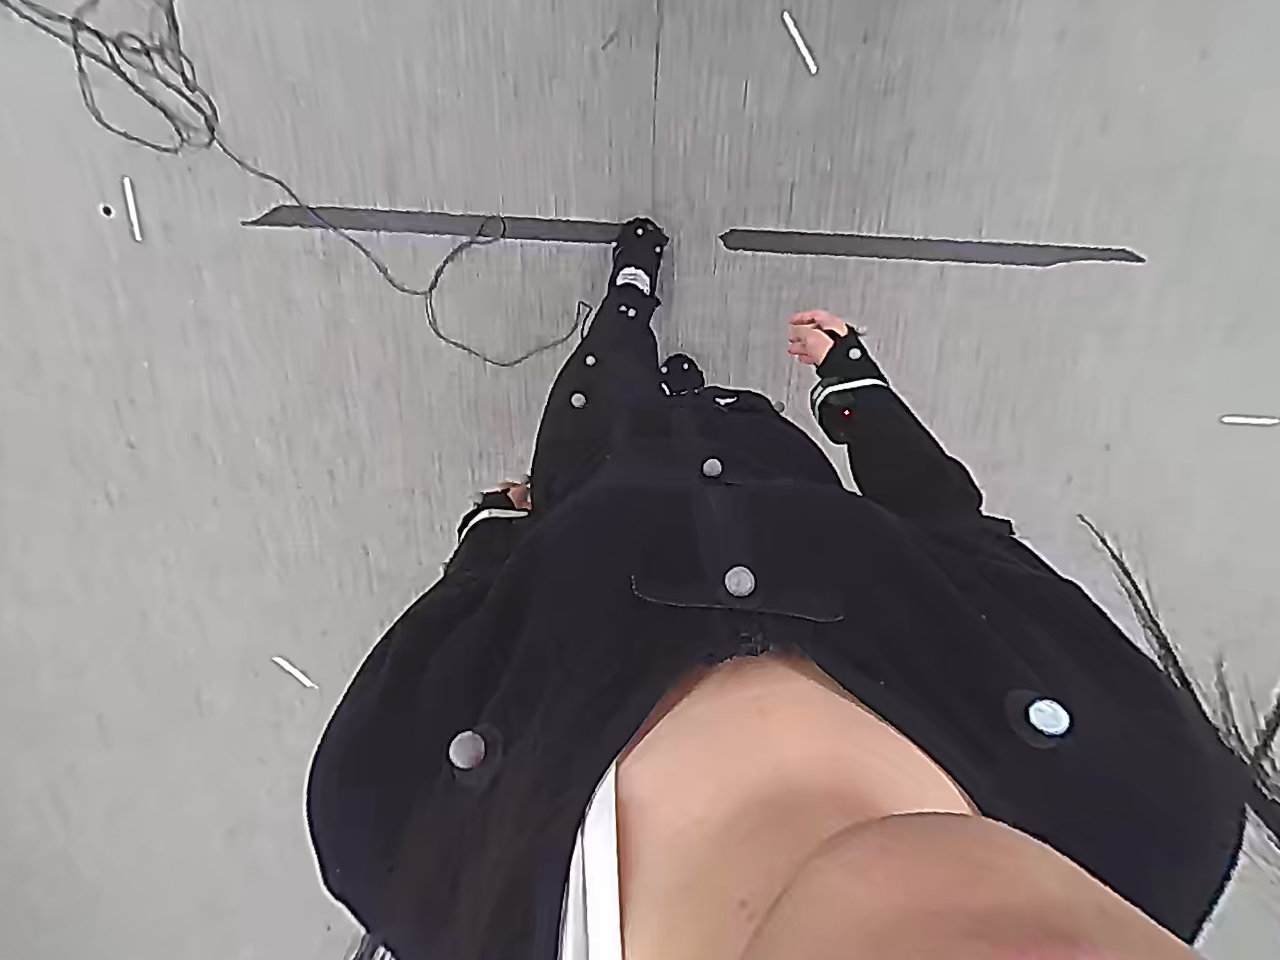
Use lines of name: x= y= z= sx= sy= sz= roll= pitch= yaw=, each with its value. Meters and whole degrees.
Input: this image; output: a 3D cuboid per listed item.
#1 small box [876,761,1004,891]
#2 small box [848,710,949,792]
small box: x=0.698 y=0.805 z=1.279 sx=0.168 sy=0.176 sz=0.179 roll=-40 pitch=104 yaw=10
small box: x=0.692 y=0.755 z=1.436 sx=0.168 sy=0.176 sz=0.179 roll=-39 pitch=102 yaw=10
